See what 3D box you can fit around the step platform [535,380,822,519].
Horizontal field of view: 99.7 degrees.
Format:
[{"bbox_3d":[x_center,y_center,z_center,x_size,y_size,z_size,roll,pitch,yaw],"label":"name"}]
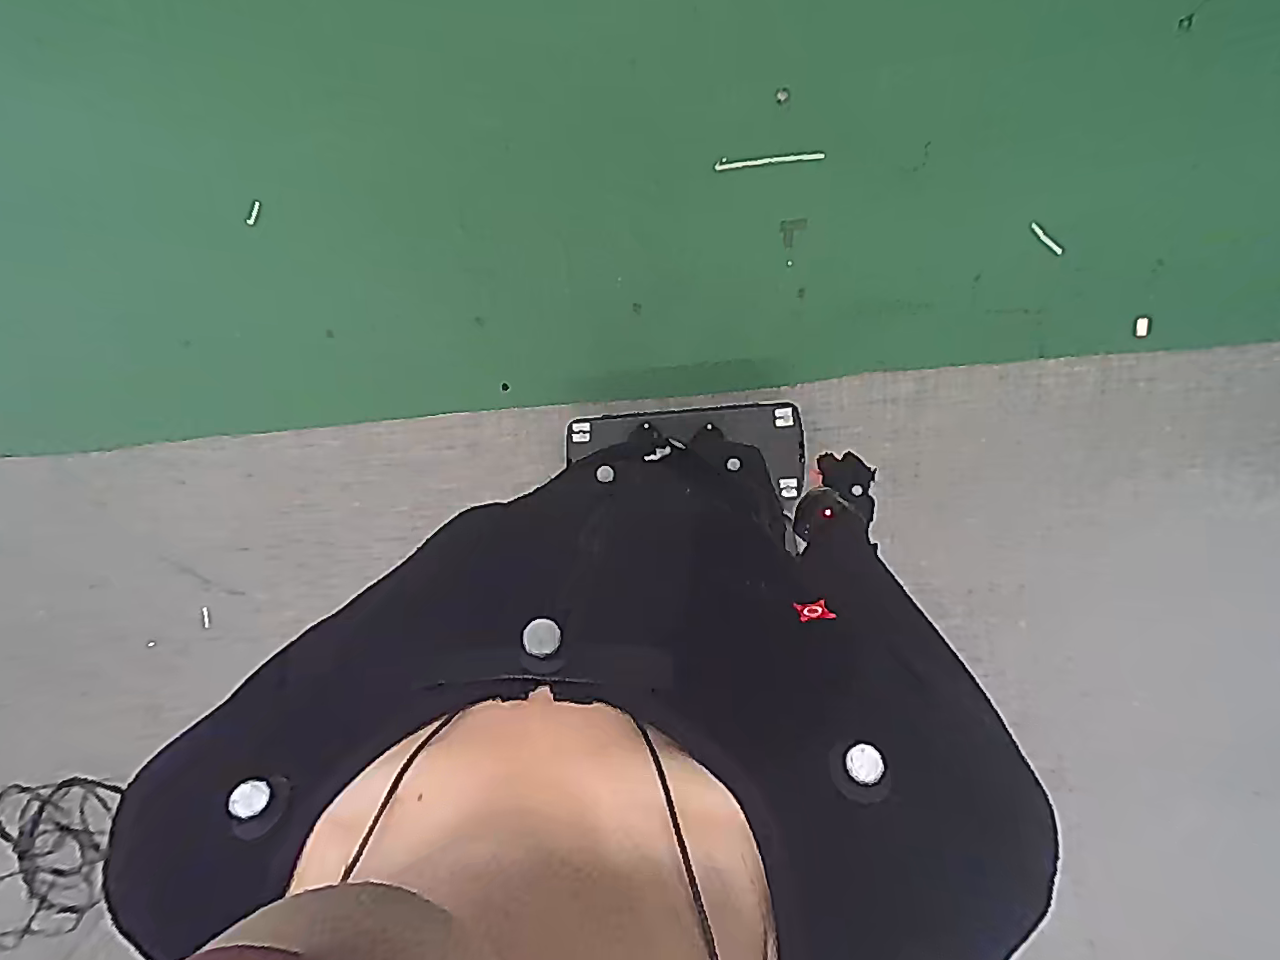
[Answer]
[{"bbox_3d":[0.093,-0.079,1.375,0.684,0.204,0.286,-5,96,5],"label":"step platform"}]
